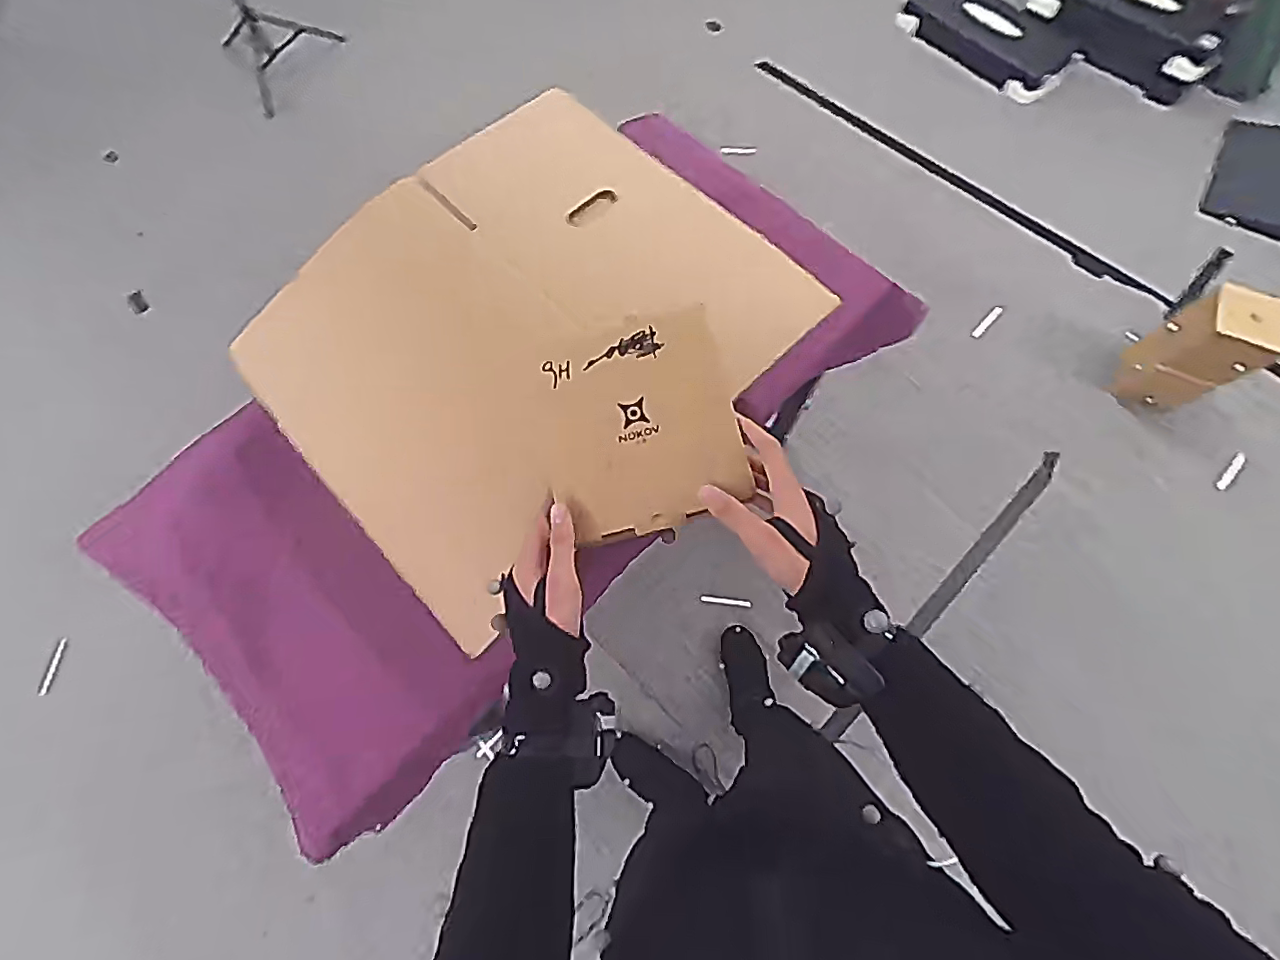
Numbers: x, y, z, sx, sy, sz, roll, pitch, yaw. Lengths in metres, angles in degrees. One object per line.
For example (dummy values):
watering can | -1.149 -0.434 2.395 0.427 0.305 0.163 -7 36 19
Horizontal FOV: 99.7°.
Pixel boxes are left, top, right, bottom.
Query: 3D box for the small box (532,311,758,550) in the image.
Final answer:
small box | 0.010 -0.037 0.539 0.168 0.176 0.179 -14 84 4
